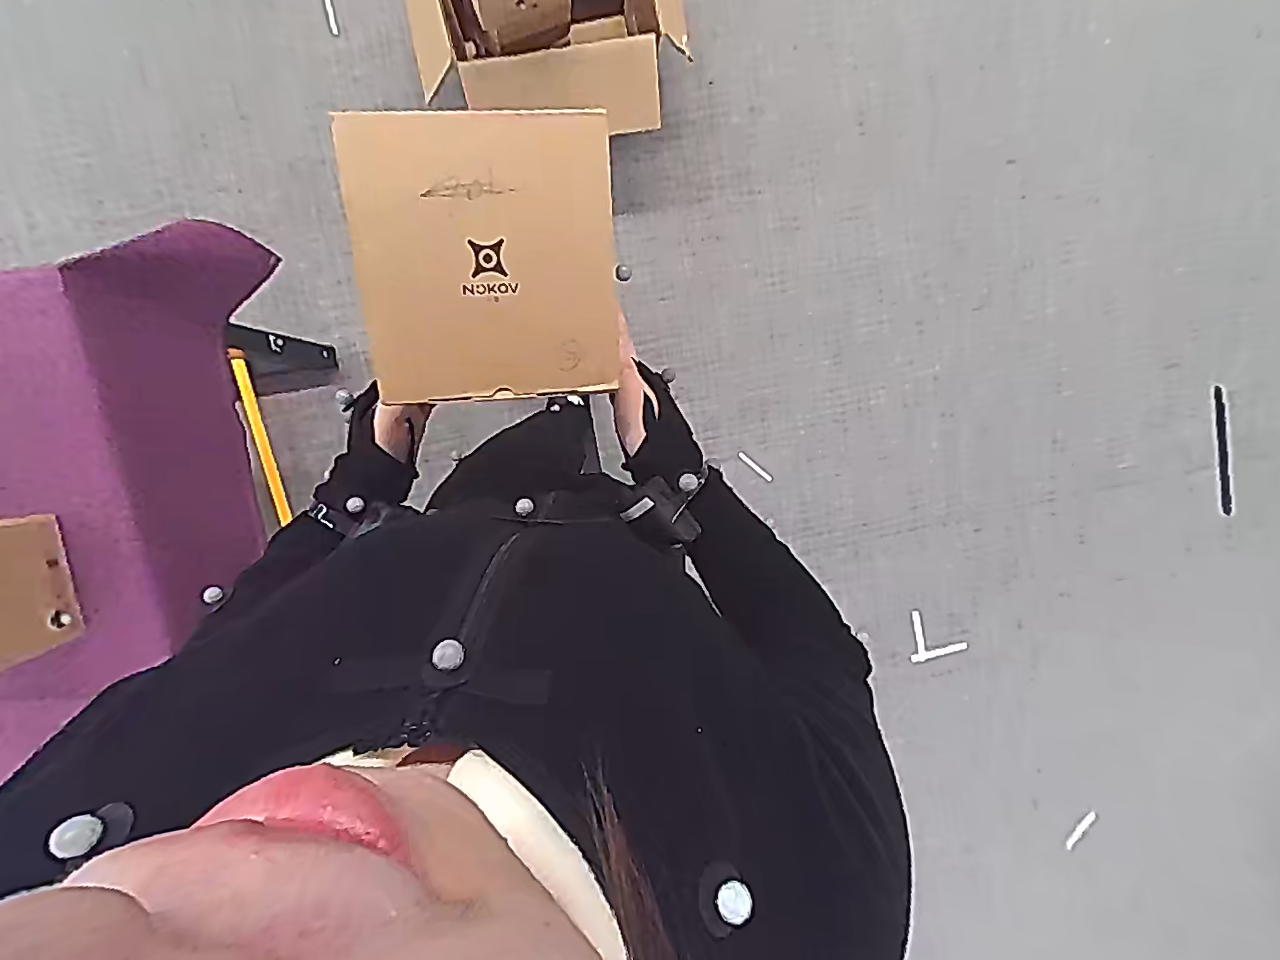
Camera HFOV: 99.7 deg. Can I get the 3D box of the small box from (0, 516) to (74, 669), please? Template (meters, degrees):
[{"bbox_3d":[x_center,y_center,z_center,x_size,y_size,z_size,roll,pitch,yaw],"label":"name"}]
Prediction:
[{"bbox_3d":[-0.820,0.143,0.623,0.179,0.176,0.168,-7,98,-2],"label":"small box"}]

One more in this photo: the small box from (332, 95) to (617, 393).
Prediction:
[{"bbox_3d":[-0.106,-0.169,0.424,0.168,0.176,0.179,-4,106,-6],"label":"small box"}]

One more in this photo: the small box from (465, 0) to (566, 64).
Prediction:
[{"bbox_3d":[-0.257,-0.988,1.075,0.179,0.176,0.168,-32,102,-3],"label":"small box"}]
